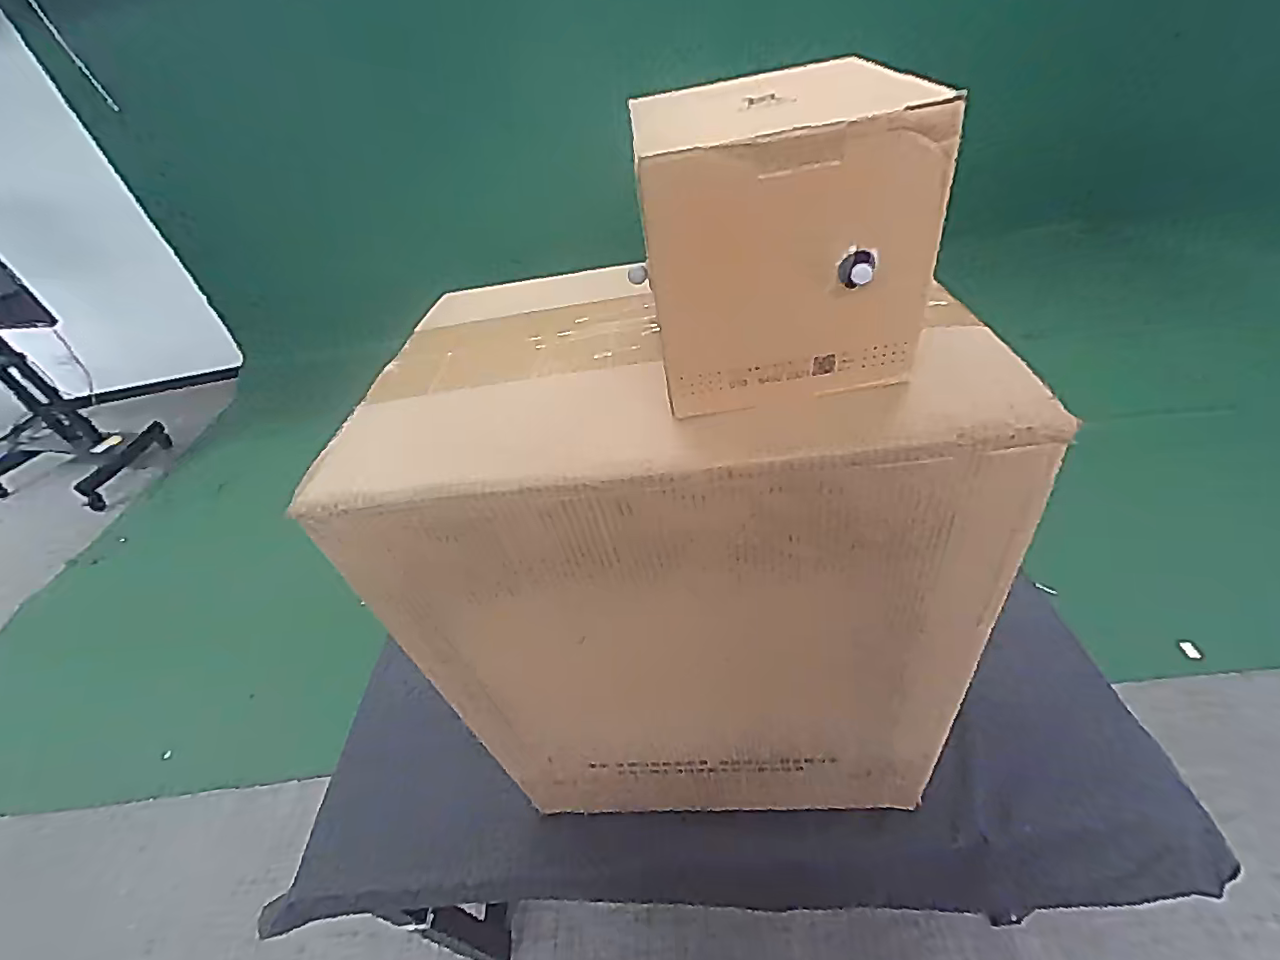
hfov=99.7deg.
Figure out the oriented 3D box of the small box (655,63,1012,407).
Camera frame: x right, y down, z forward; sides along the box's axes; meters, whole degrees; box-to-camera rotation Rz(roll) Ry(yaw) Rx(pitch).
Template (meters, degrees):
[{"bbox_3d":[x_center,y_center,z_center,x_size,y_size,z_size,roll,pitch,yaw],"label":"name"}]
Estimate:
[{"bbox_3d":[0.105,-0.163,0.375,0.168,0.176,0.179,-7,43,2],"label":"small box"}]
